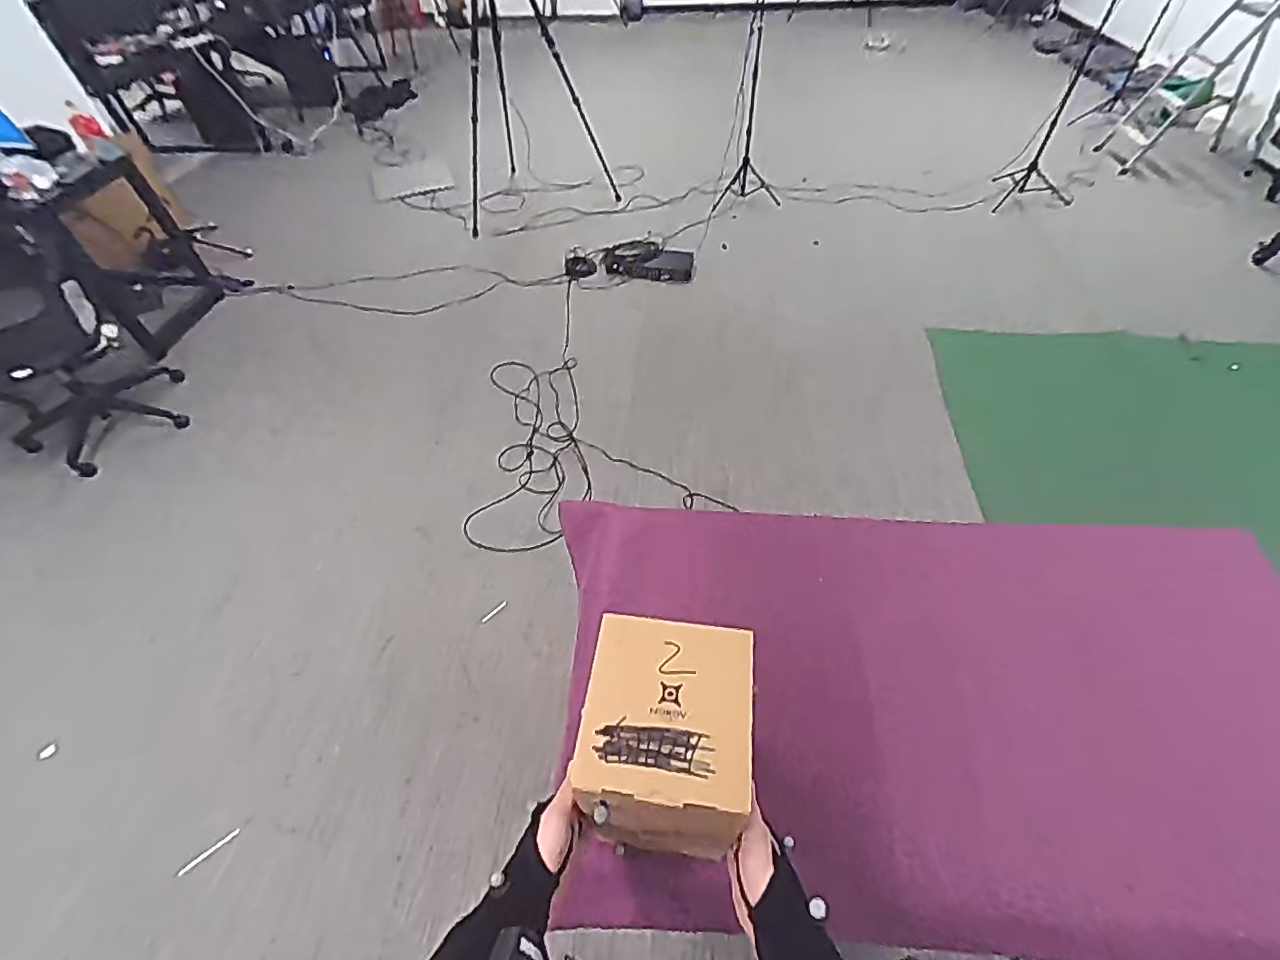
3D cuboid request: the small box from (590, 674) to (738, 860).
[{"bbox_3d":[0.037,0.383,0.717,0.168,0.176,0.179,5,49,6],"label":"small box"}]
